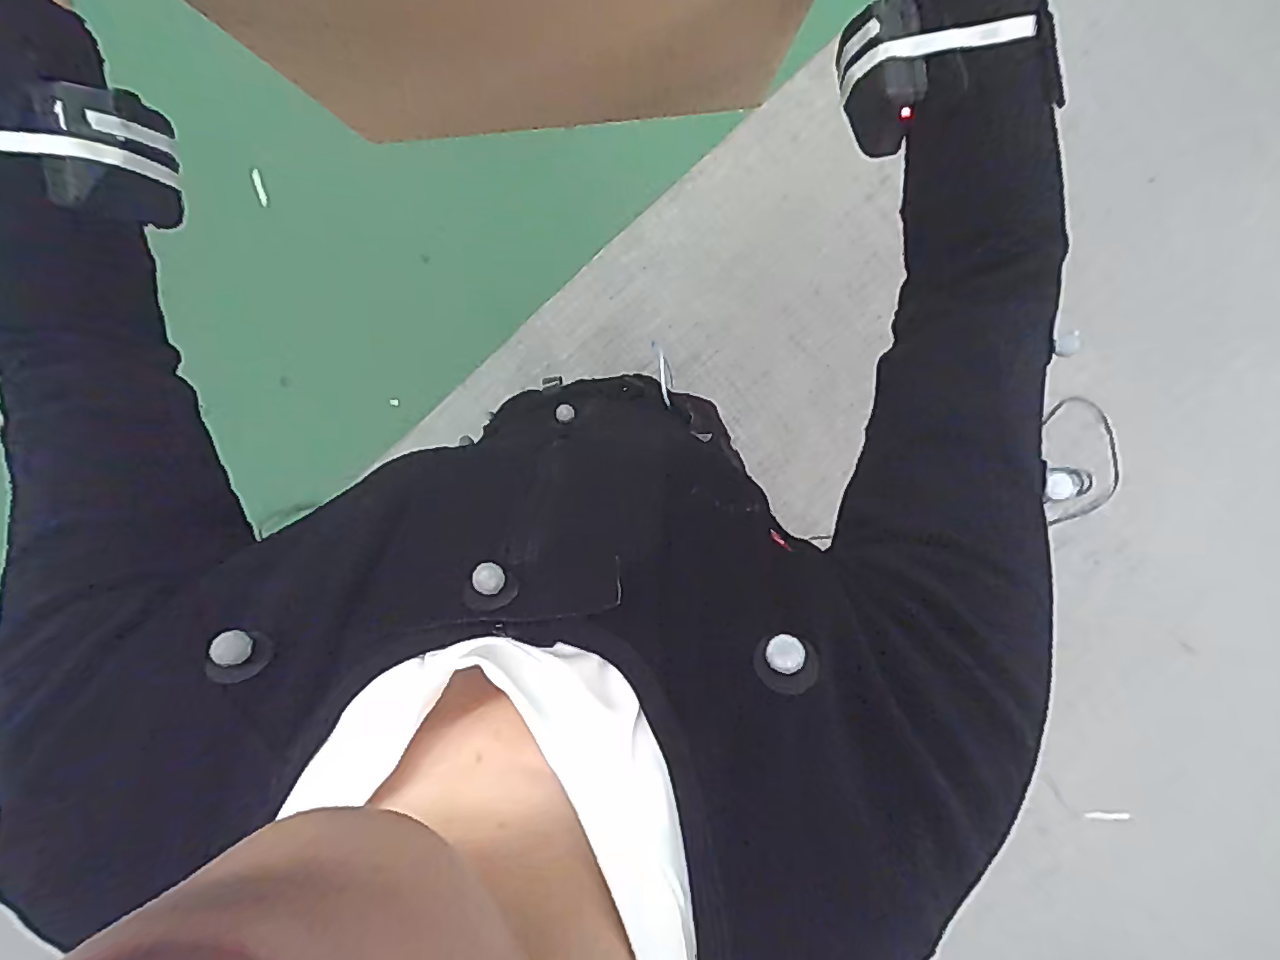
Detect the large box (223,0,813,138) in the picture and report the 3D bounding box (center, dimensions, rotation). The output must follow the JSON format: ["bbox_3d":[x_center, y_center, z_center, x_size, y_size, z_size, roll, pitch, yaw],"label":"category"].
[{"bbox_3d":[-0.082,-0.478,0.373,0.408,0.320,0.320,-5,105,0],"label":"large box"}]
